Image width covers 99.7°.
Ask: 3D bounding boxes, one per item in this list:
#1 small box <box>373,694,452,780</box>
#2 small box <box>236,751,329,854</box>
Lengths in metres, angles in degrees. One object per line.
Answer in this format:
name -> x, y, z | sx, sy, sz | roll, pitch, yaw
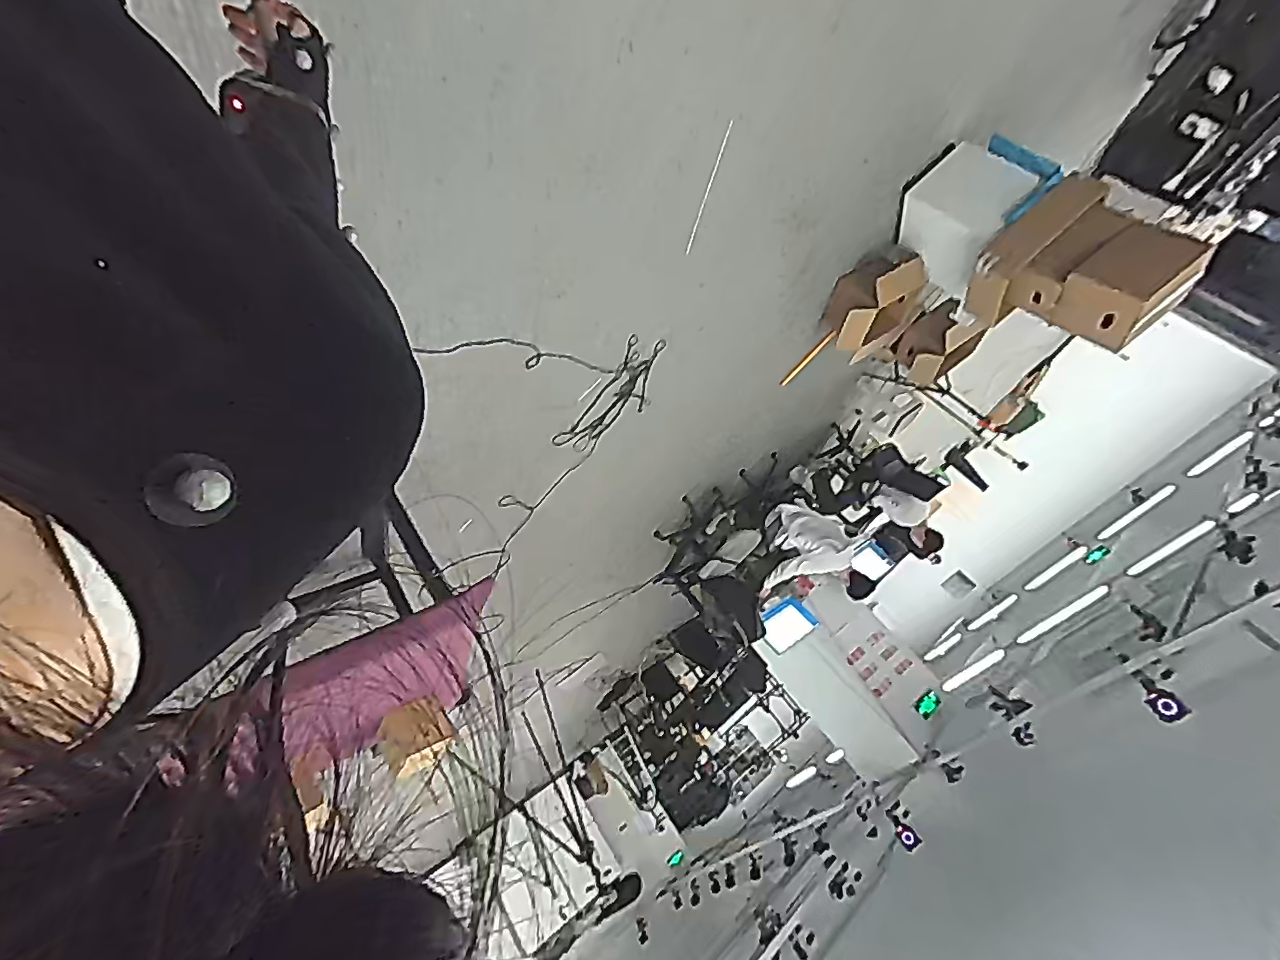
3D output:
small box -> -0.765, 0.852, 1.812 | 0.179, 0.176, 0.168 | -9, 138, -47
small box -> -1.032, 0.928, 1.567 | 0.179, 0.176, 0.168 | -21, 146, -38
